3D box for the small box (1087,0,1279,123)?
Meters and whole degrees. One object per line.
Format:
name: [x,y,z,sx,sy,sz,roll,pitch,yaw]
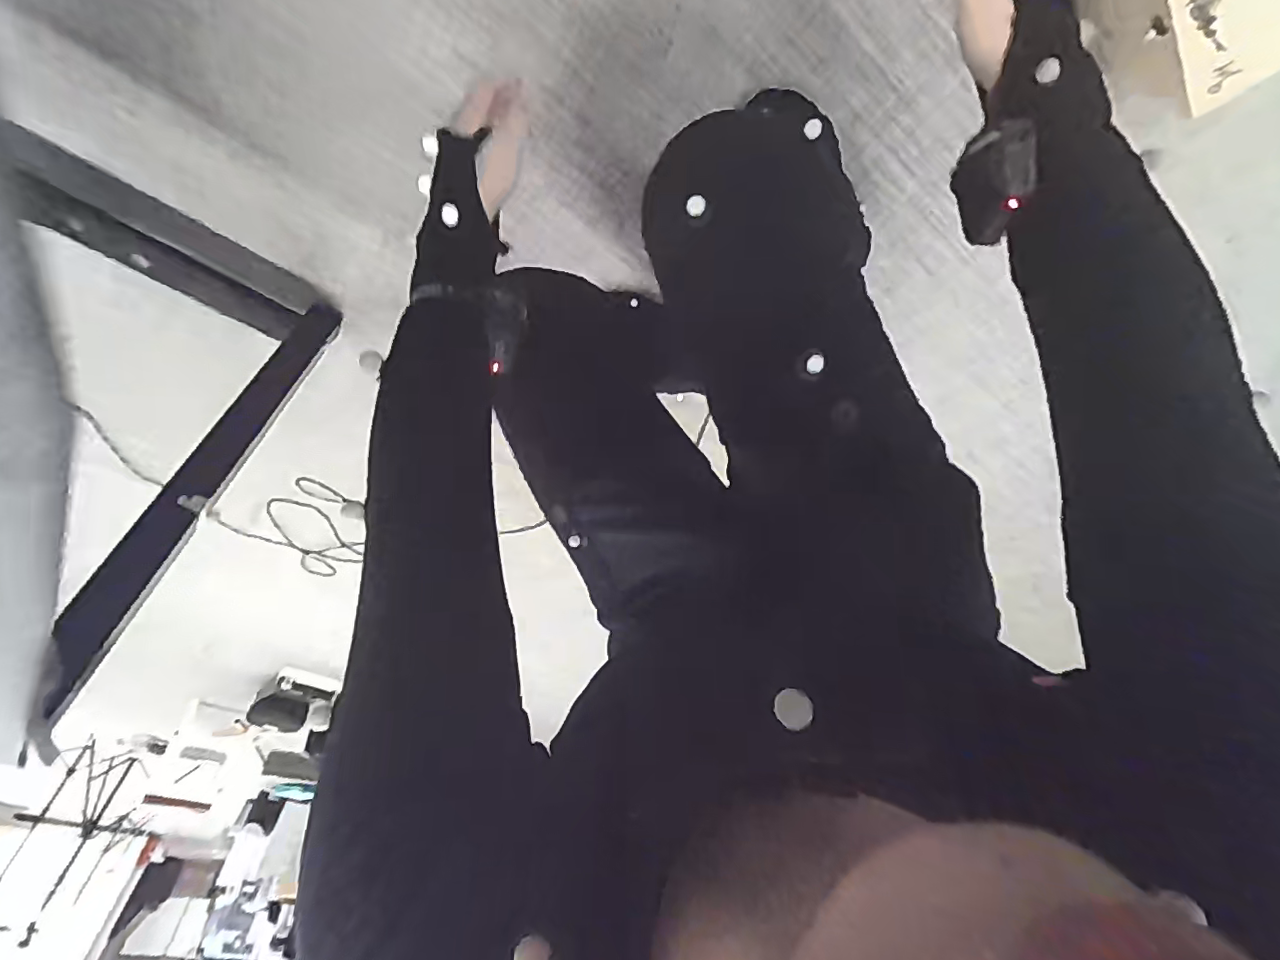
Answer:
small box: [0.566,-0.496,0.508,0.179,0.176,0.168,-30,129,34]
